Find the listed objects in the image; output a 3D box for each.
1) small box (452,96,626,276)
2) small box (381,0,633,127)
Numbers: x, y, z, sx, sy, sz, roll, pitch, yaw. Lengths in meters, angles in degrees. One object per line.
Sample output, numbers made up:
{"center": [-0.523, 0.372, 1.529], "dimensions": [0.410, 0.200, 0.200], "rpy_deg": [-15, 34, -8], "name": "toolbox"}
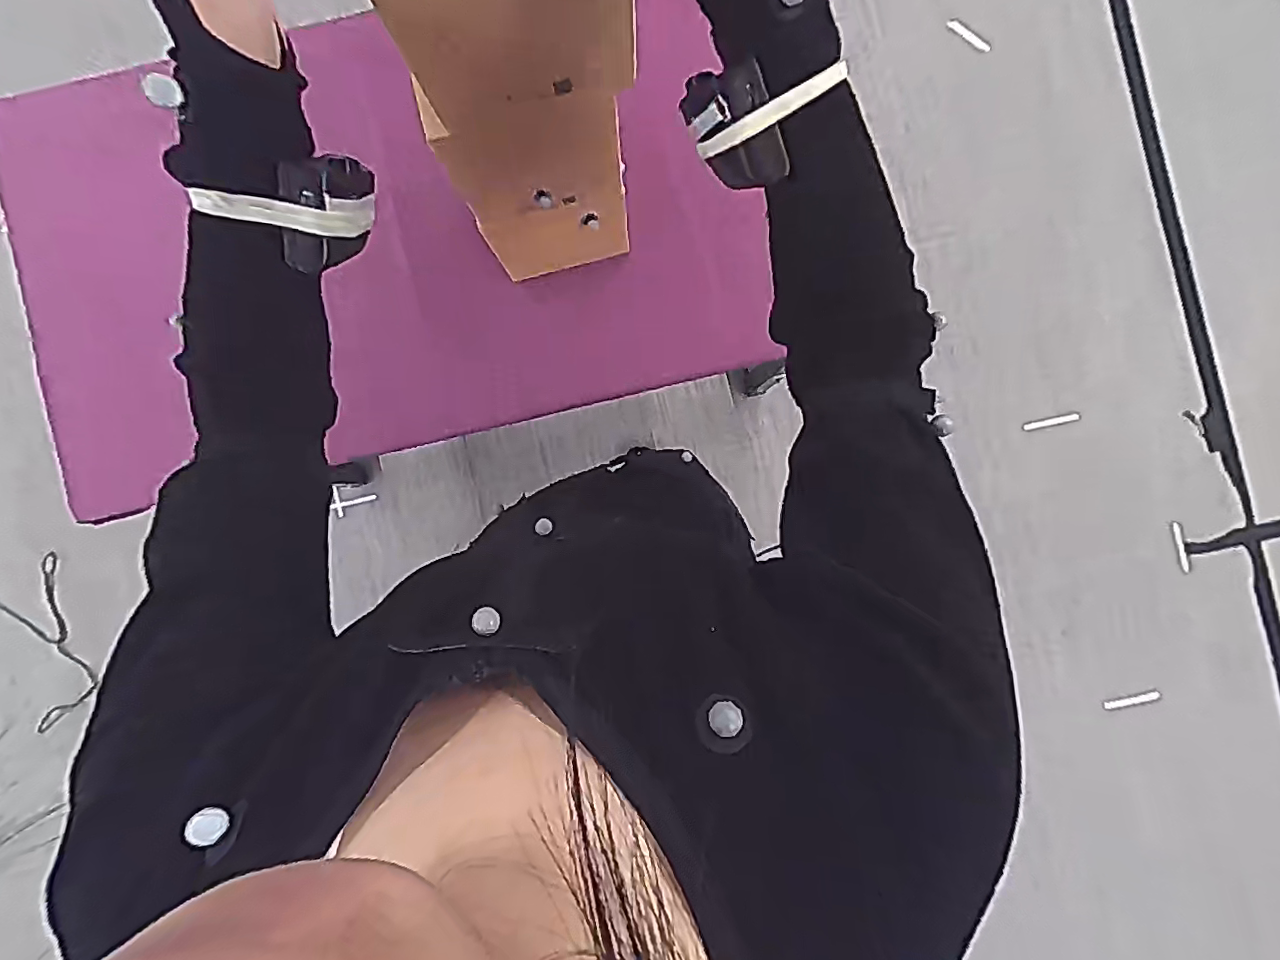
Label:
{"center": [-0.118, -0.387, 0.695], "dimensions": [0.179, 0.176, 0.168], "rpy_deg": [-14, 89, 1], "name": "small box"}
{"center": [-0.104, -0.392, 0.368], "dimensions": [0.168, 0.176, 0.179], "rpy_deg": [-14, 90, 1], "name": "small box"}
